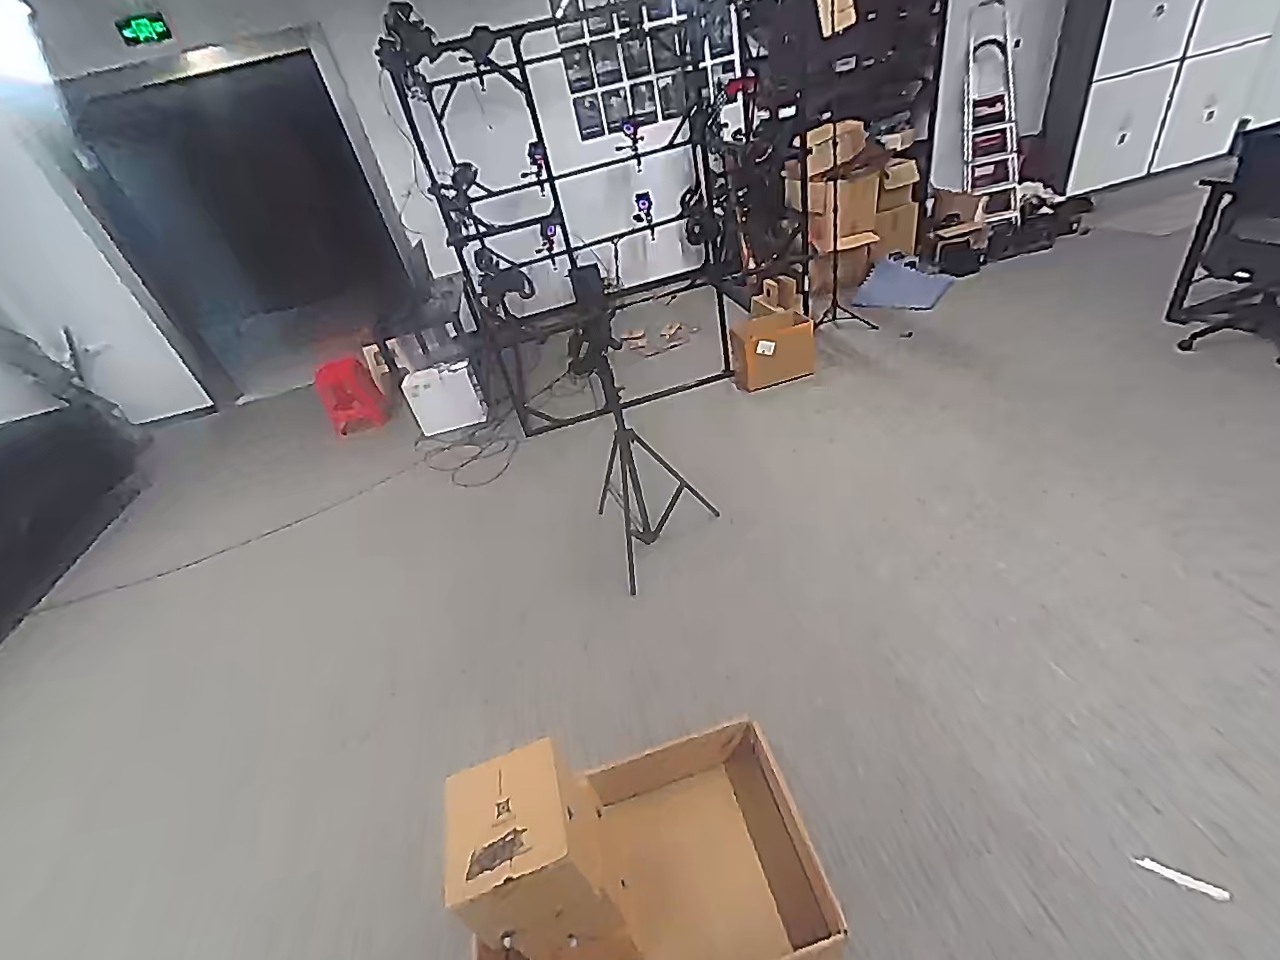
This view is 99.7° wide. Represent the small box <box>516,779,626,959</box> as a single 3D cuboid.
[{"bbox_3d":[-0.132,0.651,0.908,0.168,0.176,0.179,-18,36,-5],"label":"small box"}]

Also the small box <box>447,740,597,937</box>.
[{"bbox_3d":[-0.172,0.532,0.800,0.168,0.176,0.179,-19,35,-7],"label":"small box"}]

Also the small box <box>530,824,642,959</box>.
[{"bbox_3d":[-0.104,0.785,0.999,0.168,0.176,0.179,-17,35,-5],"label":"small box"}]
